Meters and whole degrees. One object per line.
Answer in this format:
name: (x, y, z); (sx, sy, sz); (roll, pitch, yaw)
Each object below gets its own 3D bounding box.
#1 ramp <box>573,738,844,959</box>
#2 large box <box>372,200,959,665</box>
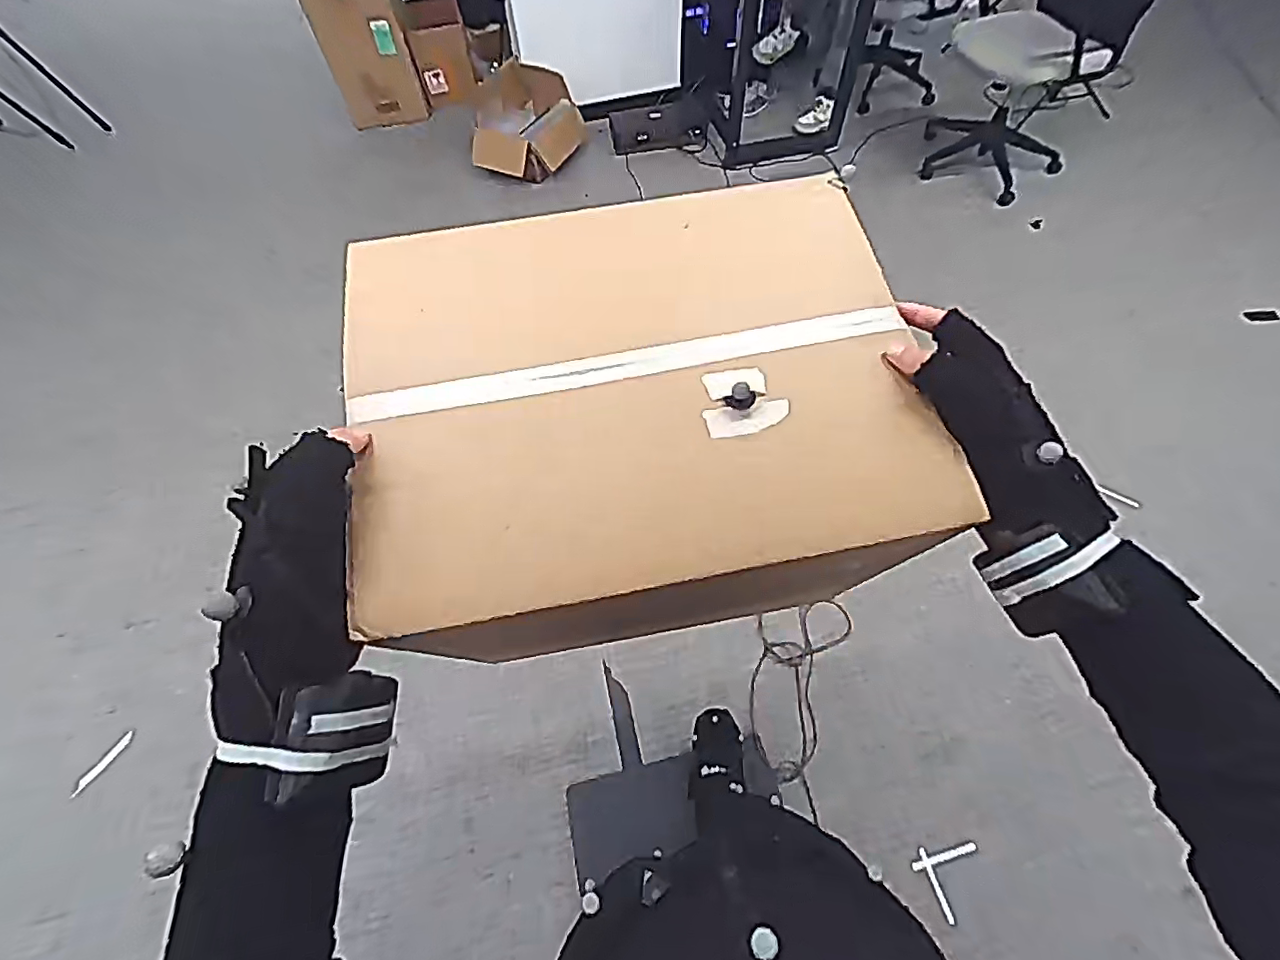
ramp: (0.184, 1.059, 1.009); (0.509, 0.206, 0.991); (-16, 59, -5)
large box: (-0.002, -0.019, 0.549); (0.408, 0.320, 0.320); (-10, 69, -4)
